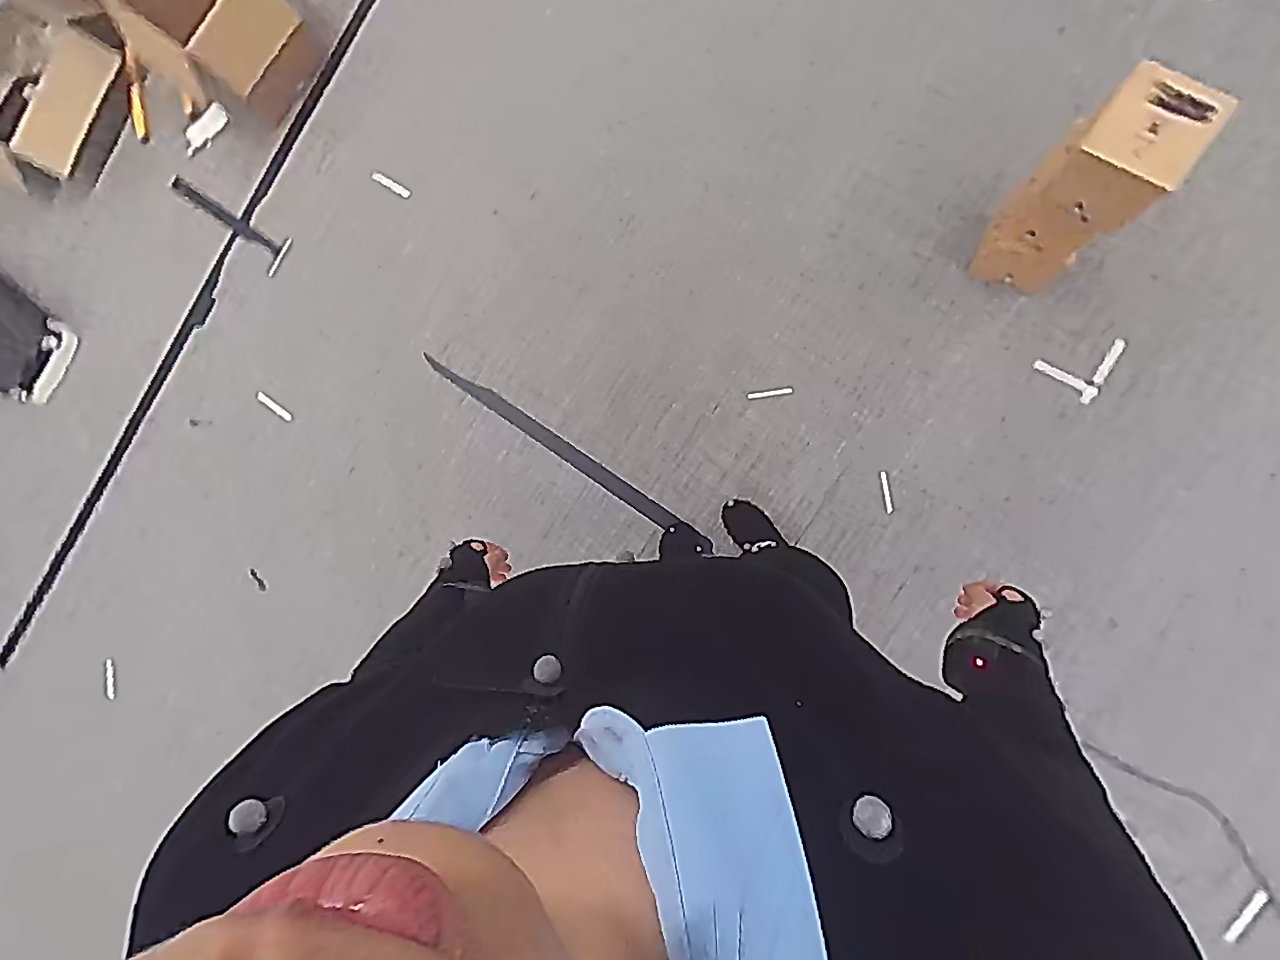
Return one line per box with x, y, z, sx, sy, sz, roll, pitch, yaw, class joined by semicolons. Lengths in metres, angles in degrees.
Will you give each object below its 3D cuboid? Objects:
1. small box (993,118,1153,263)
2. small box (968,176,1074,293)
0.899;-0.602;1.145;0.168;0.176;0.179;34;94;10;small box
0.929;-0.585;1.304;0.168;0.176;0.179;21;91;11;small box
